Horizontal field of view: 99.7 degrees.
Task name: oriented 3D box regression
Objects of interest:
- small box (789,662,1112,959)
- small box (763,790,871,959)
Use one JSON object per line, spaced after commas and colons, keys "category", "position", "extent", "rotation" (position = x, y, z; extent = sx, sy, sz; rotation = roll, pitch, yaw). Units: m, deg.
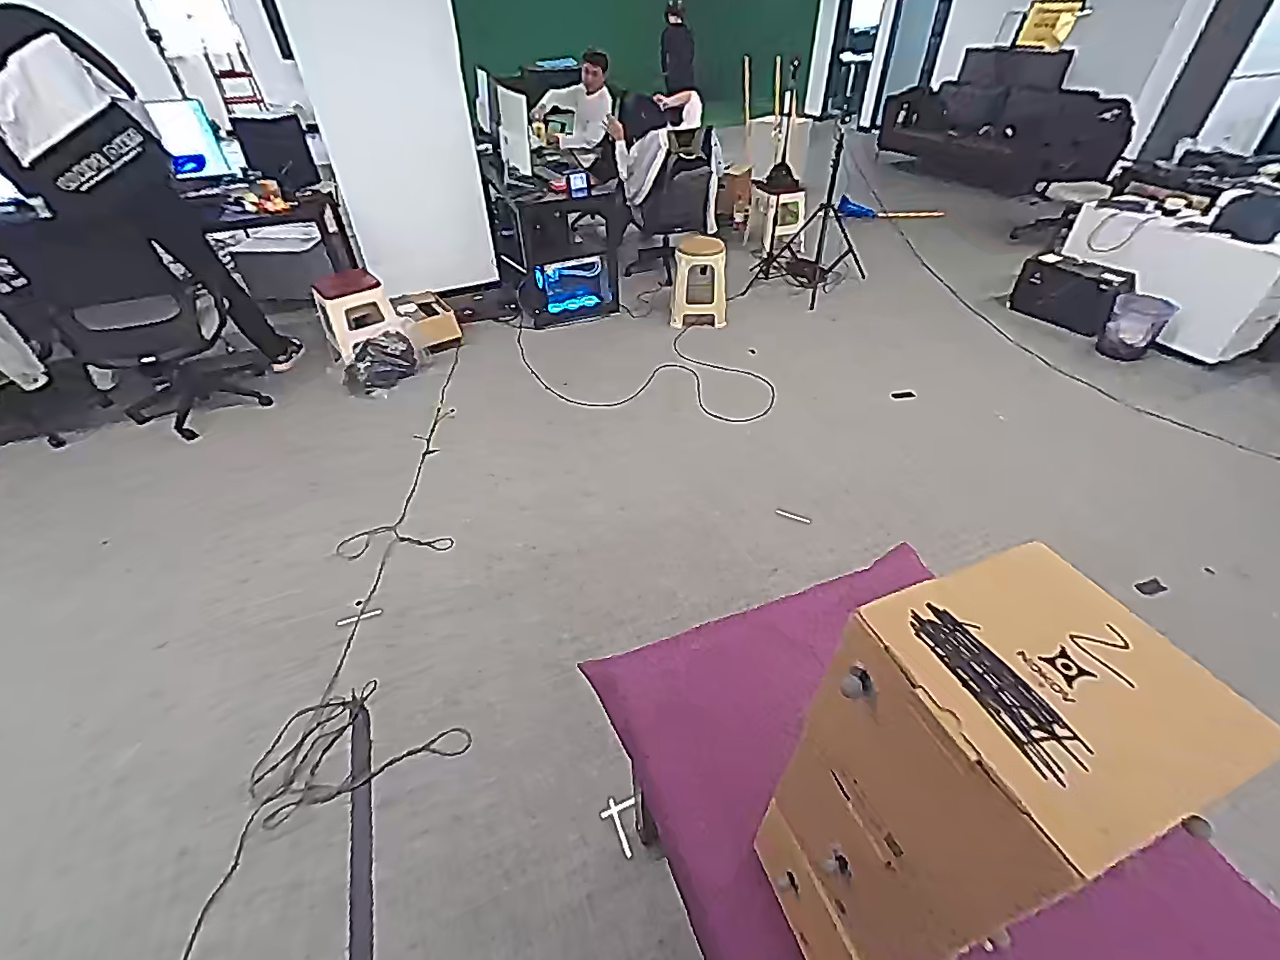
{"category": "small box", "position": [0.255, 0.307, 0.497], "extent": [0.179, 0.176, 0.168], "rotation": [-16, 44, -17]}
{"category": "small box", "position": [0.251, 0.434, 0.601], "extent": [0.179, 0.176, 0.168], "rotation": [-14, 43, -16]}
